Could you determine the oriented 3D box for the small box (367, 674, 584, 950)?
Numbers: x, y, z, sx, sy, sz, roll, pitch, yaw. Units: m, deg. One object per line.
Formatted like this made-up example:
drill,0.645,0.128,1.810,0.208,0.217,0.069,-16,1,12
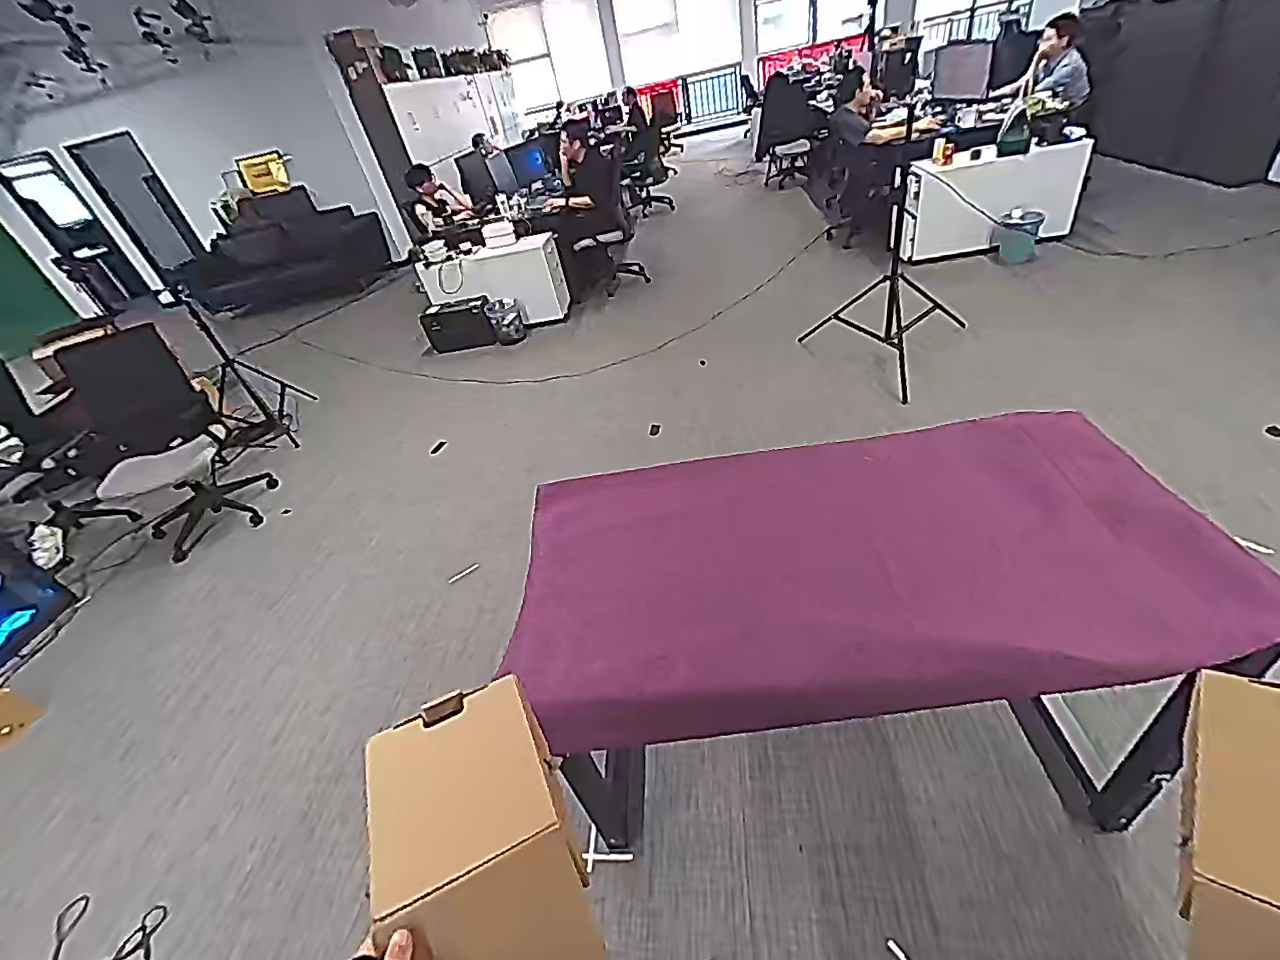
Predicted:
small box,-0.171,0.353,0.577,0.168,0.176,0.179,-20,38,-15
